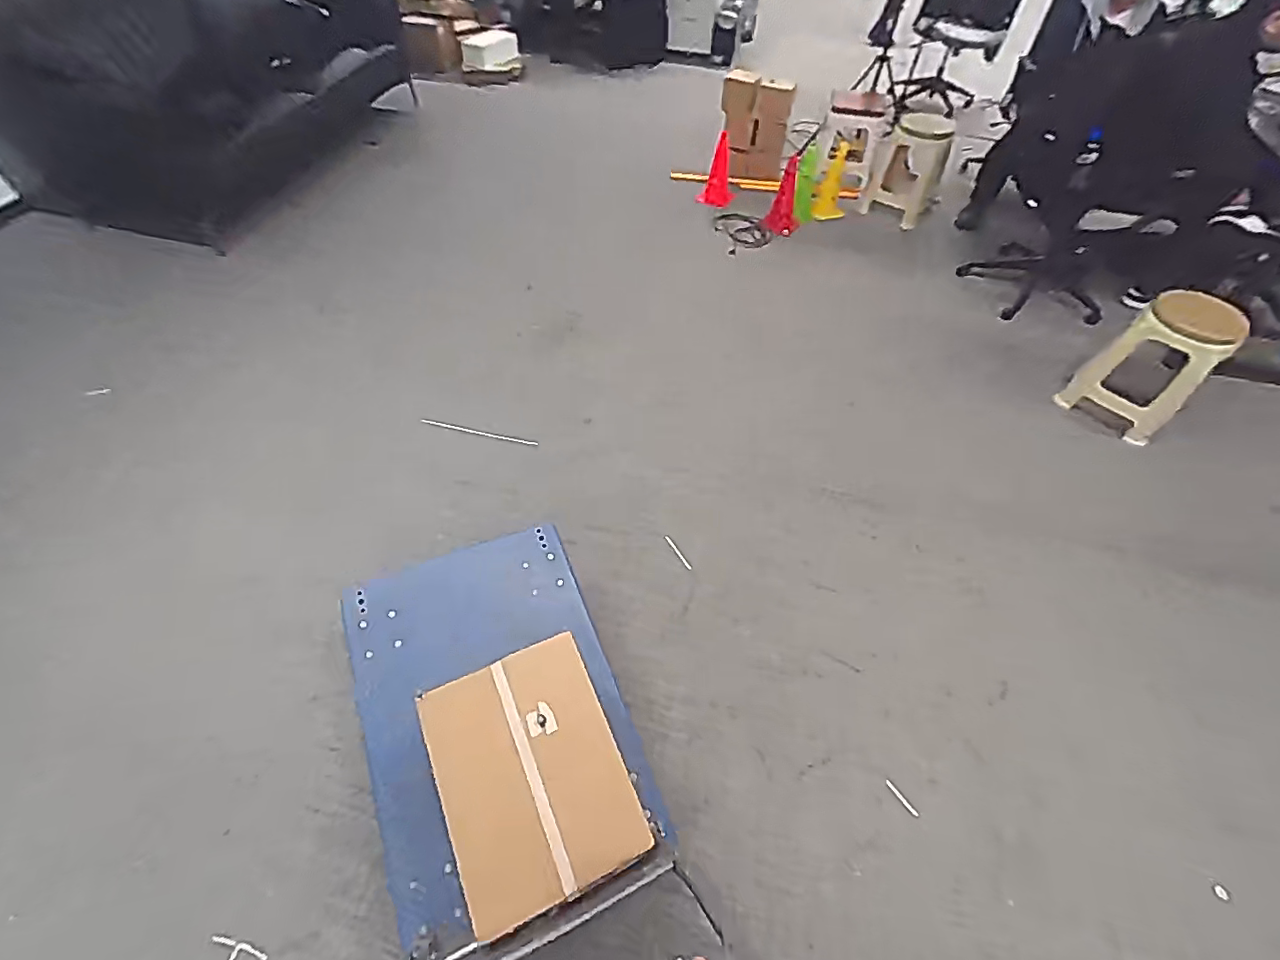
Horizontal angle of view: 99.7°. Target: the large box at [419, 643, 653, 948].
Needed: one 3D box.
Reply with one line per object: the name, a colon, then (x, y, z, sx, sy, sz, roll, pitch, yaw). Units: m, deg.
large box: (-0.206, 0.616, 1.111, 0.320, 0.320, 0.408, -20, 63, -17)
